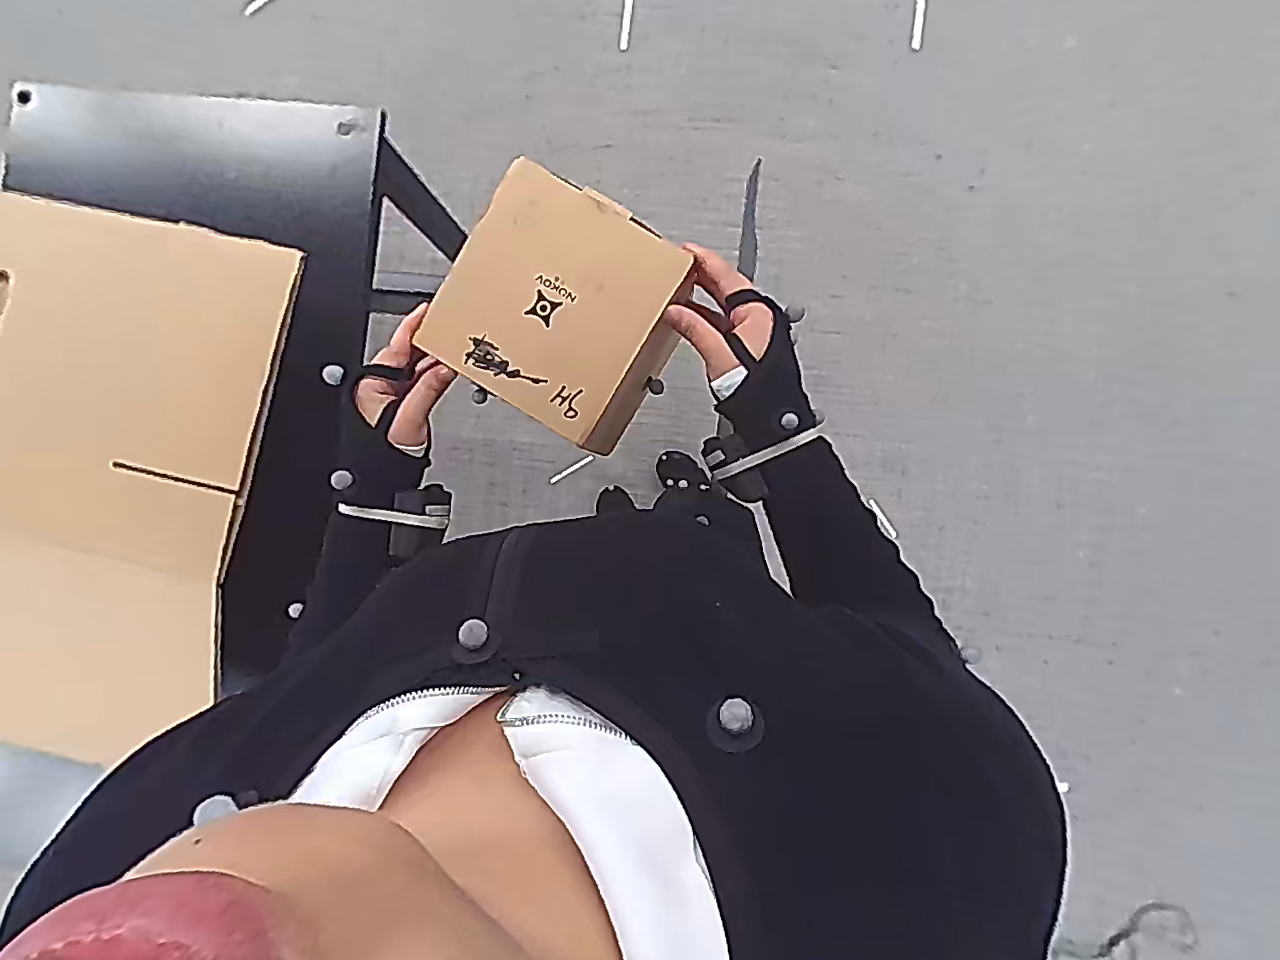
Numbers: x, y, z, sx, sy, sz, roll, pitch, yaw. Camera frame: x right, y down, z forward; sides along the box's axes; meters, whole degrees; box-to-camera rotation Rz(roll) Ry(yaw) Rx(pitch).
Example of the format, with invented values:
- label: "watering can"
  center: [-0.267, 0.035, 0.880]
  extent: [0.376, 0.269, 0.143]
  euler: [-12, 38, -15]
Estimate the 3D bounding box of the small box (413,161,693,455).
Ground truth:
- label: "small box"
  center: [-0.066, -0.140, 0.507]
  extent: [0.168, 0.176, 0.179]
  euler: [31, 91, 5]
